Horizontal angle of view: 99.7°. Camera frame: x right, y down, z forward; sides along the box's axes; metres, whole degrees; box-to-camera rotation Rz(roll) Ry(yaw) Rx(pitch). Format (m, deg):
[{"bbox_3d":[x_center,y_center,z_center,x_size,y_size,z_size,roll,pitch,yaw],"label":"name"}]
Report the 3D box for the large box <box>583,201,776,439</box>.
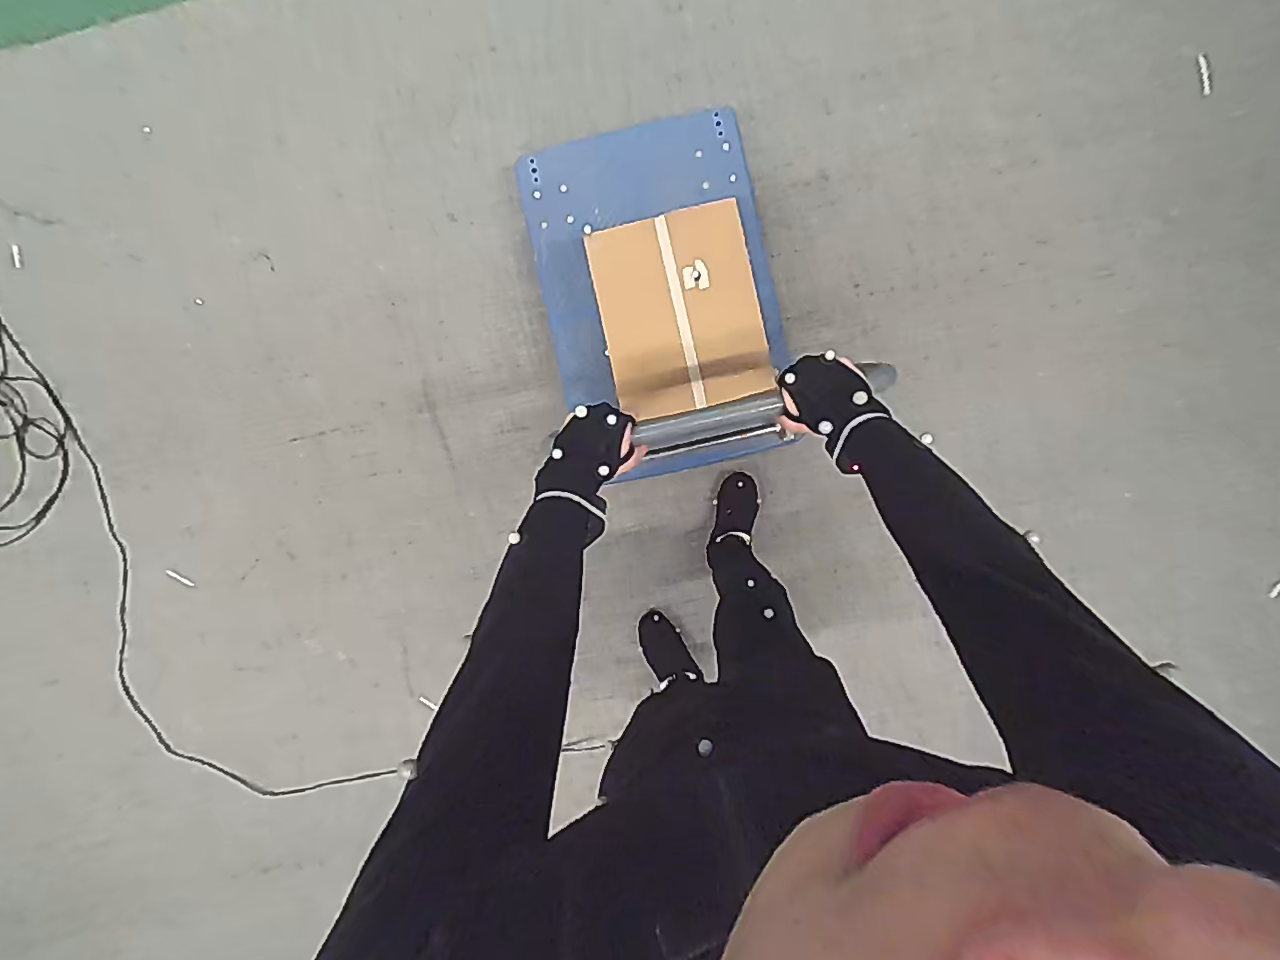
[{"bbox_3d":[0.087,-0.329,1.227,0.320,0.320,0.408,-12,89,3],"label":"large box"}]
